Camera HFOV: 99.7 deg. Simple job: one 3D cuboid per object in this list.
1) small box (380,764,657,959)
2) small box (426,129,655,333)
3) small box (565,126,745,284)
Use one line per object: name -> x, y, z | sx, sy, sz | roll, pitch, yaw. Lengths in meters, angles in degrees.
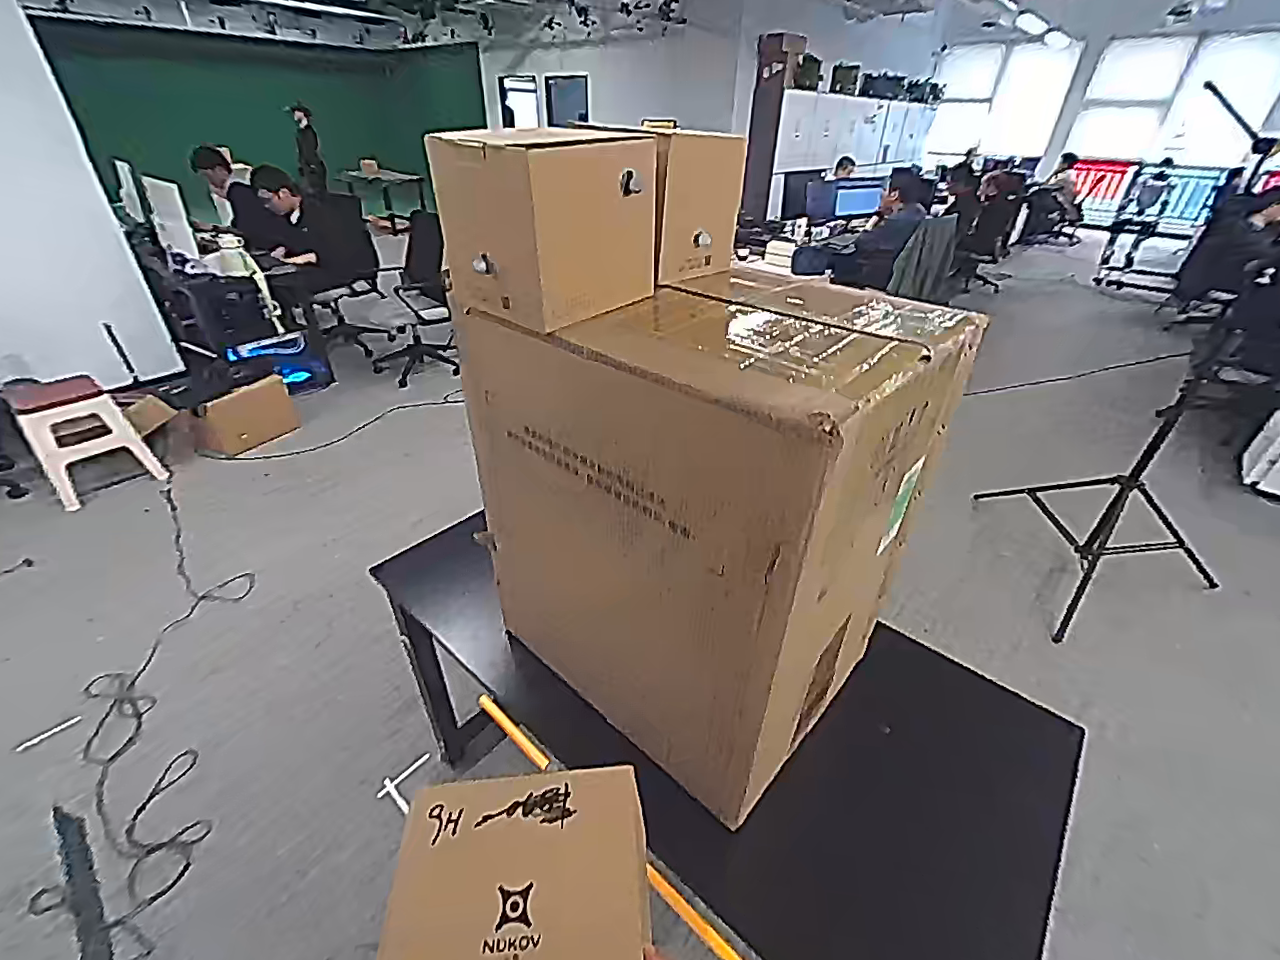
small box -> -0.074, 0.336, 0.398 | 0.168, 0.176, 0.179 | -6, 44, -1
small box -> -0.102, -0.282, 0.599 | 0.168, 0.176, 0.179 | 27, 44, 33
small box -> 0.014, -0.373, 0.734 | 0.179, 0.176, 0.168 | 28, 41, 32
